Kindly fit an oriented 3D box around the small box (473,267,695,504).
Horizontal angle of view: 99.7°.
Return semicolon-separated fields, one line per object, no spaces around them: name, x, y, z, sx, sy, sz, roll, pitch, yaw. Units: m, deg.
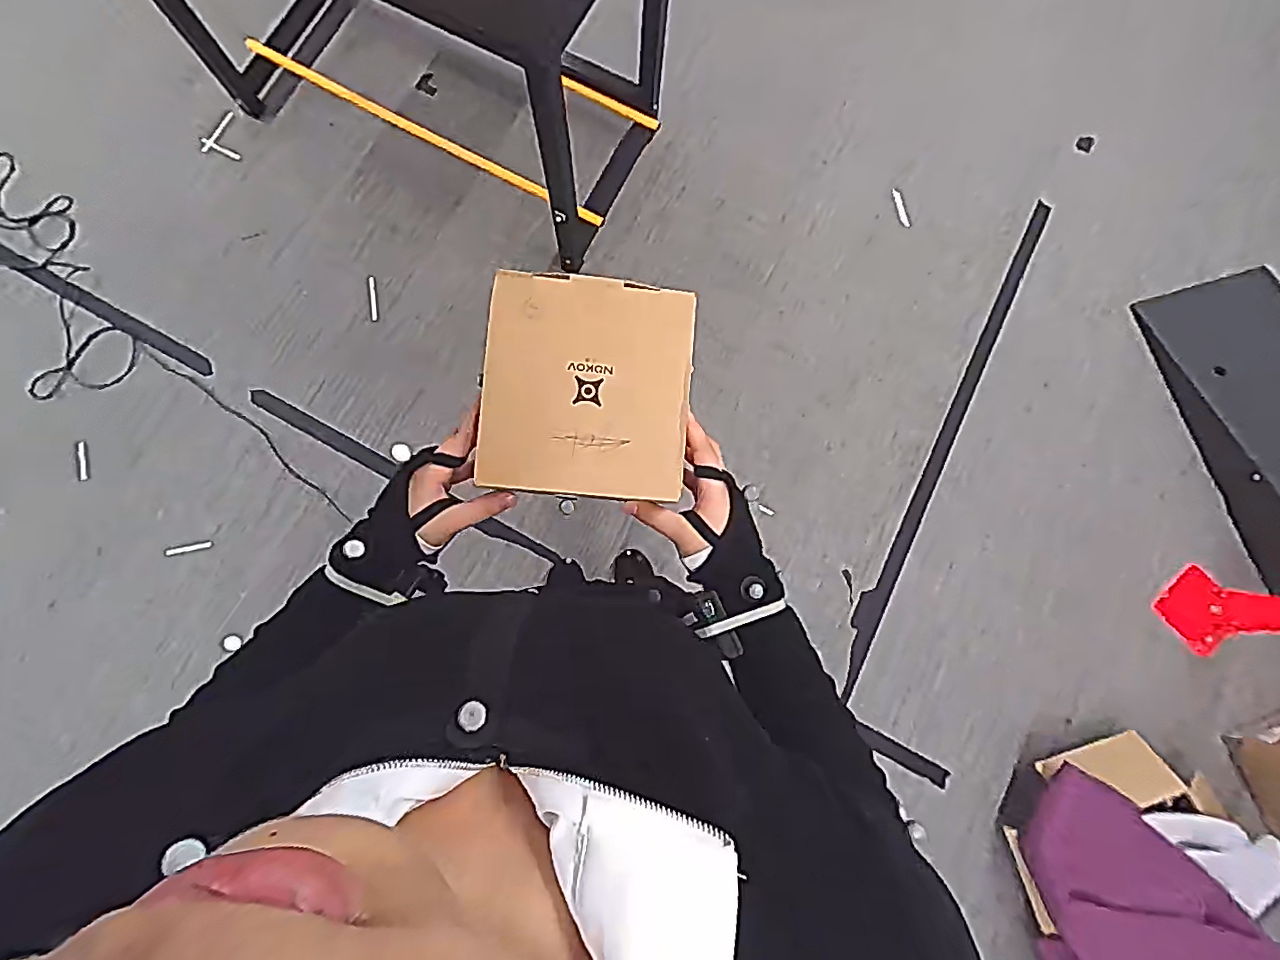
small box;-0.050;-0.072;0.508;0.168;0.176;0.179;5;87;-5
